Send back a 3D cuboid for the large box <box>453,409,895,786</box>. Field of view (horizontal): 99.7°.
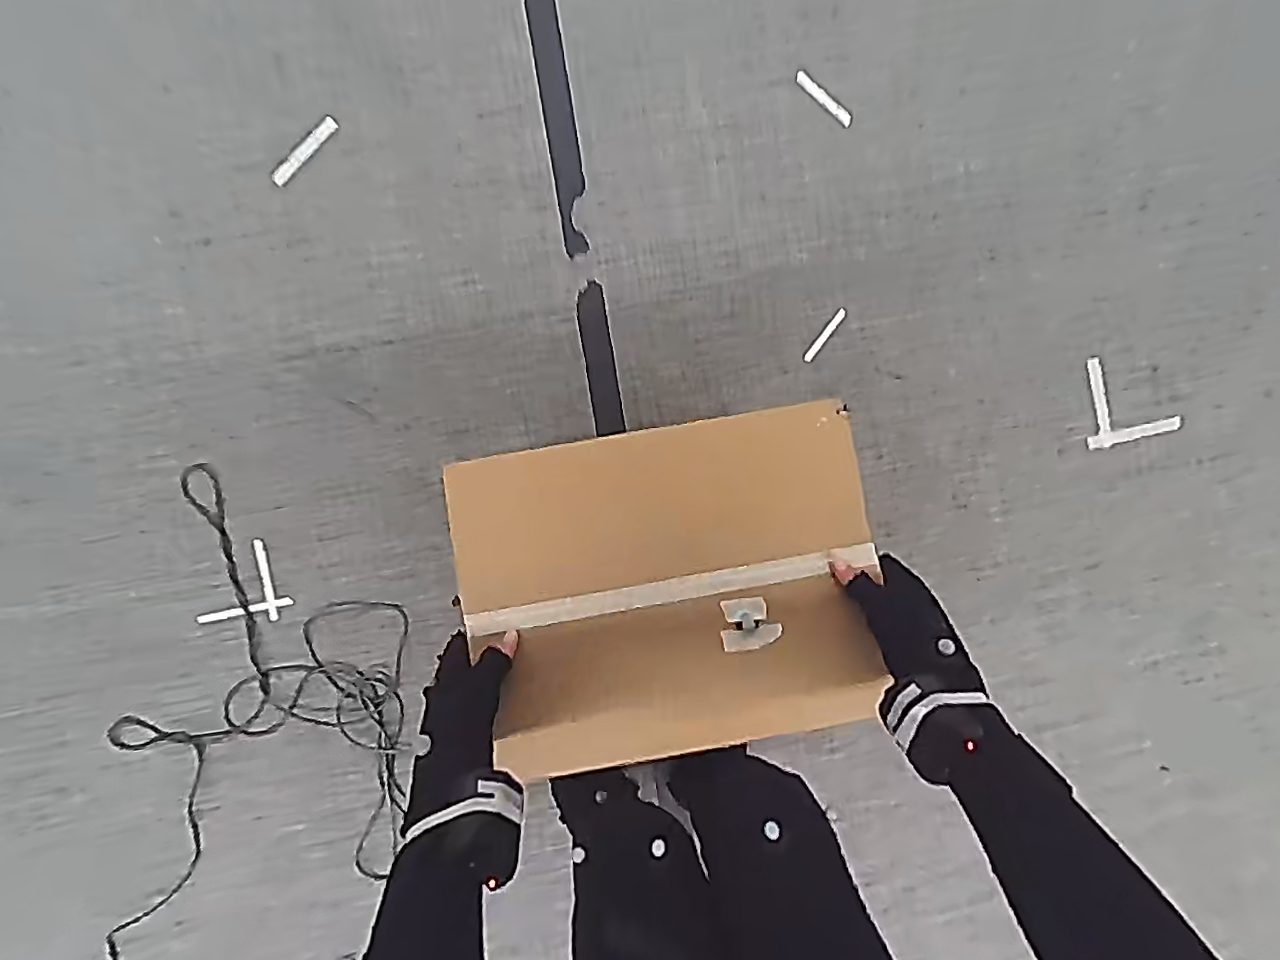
[{"bbox_3d":[0.029,0.124,0.688,0.408,0.320,0.320,-10,87,-2],"label":"large box"}]
